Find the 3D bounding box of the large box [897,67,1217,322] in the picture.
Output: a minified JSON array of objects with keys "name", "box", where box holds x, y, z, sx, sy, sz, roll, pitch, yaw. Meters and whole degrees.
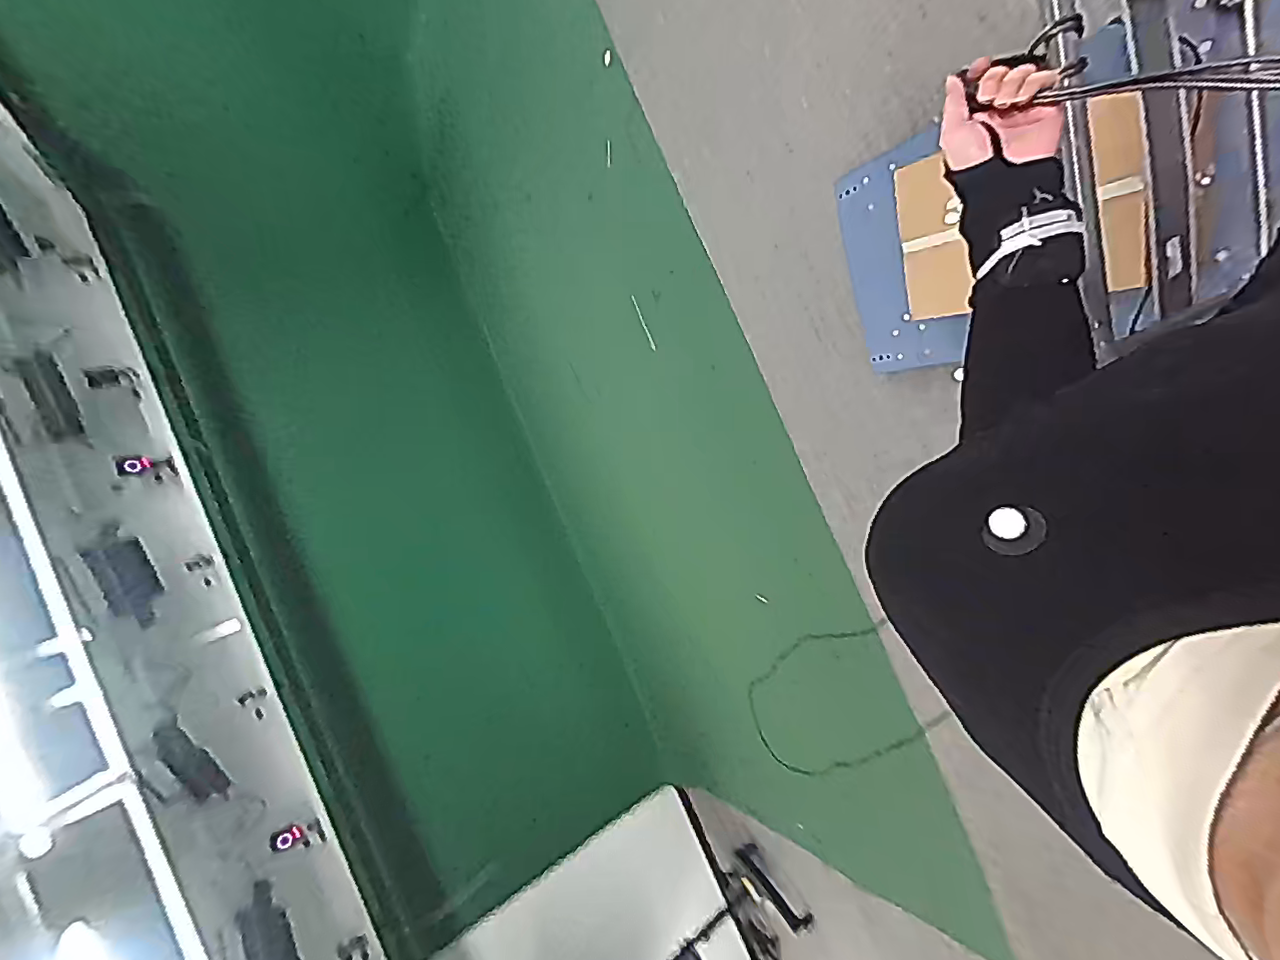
[{"name":"large box","box":[0.793,-0.524,1.052,0.408,0.320,0.320,12,120,59]}]
